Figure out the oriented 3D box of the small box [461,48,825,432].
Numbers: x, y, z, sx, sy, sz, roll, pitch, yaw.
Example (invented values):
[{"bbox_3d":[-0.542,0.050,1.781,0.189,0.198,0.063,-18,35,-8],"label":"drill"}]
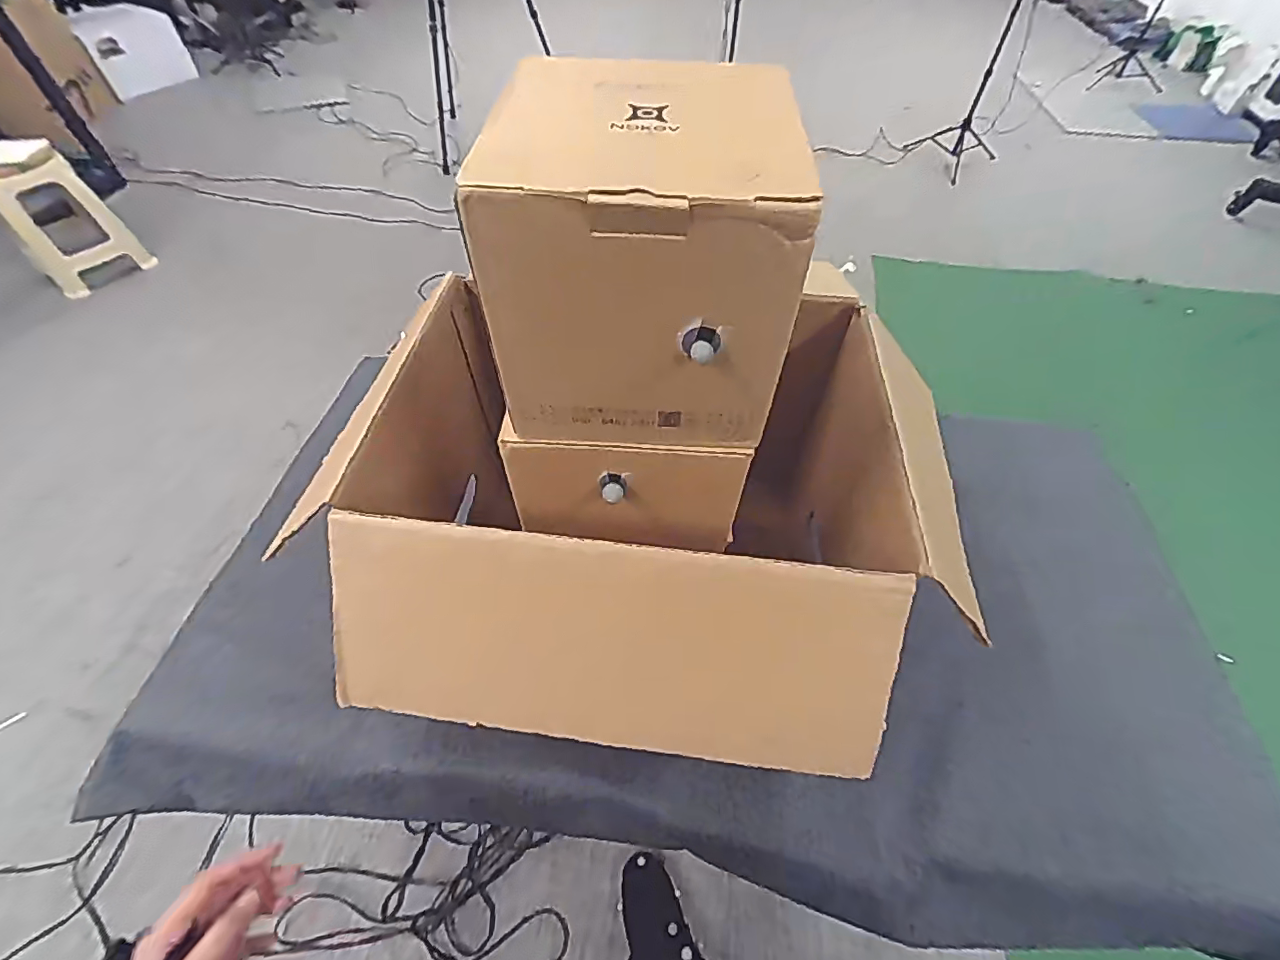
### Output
[{"bbox_3d":[0.004,-0.148,0.350,0.168,0.176,0.179,3,52,0],"label":"small box"}]
